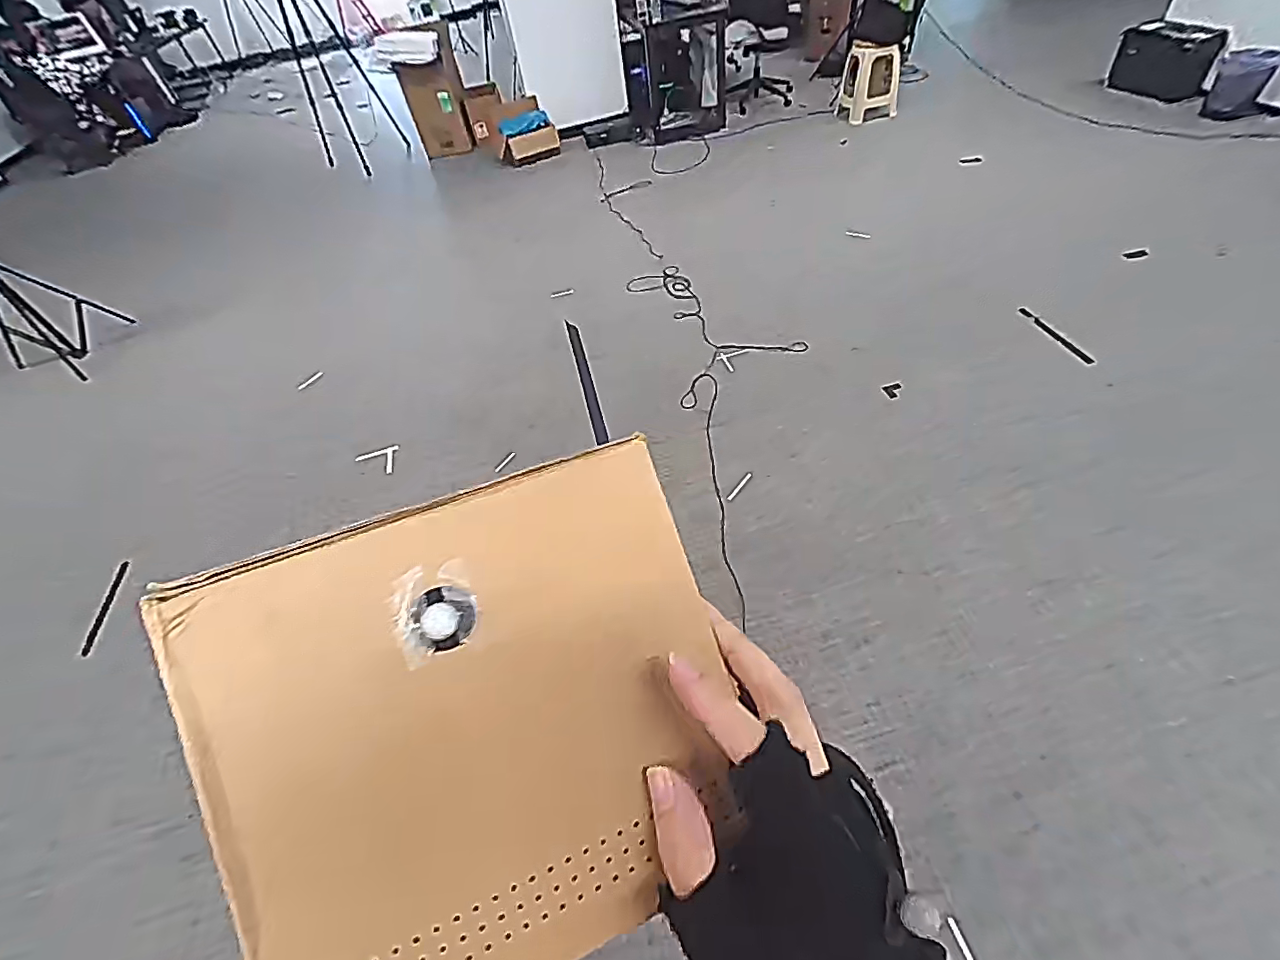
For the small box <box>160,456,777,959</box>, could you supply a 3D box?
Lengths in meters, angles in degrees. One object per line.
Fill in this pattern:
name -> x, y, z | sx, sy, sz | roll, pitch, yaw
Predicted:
small box -> -0.064, 0.106, 0.264 | 0.179, 0.168, 0.176 | -19, 87, -13
